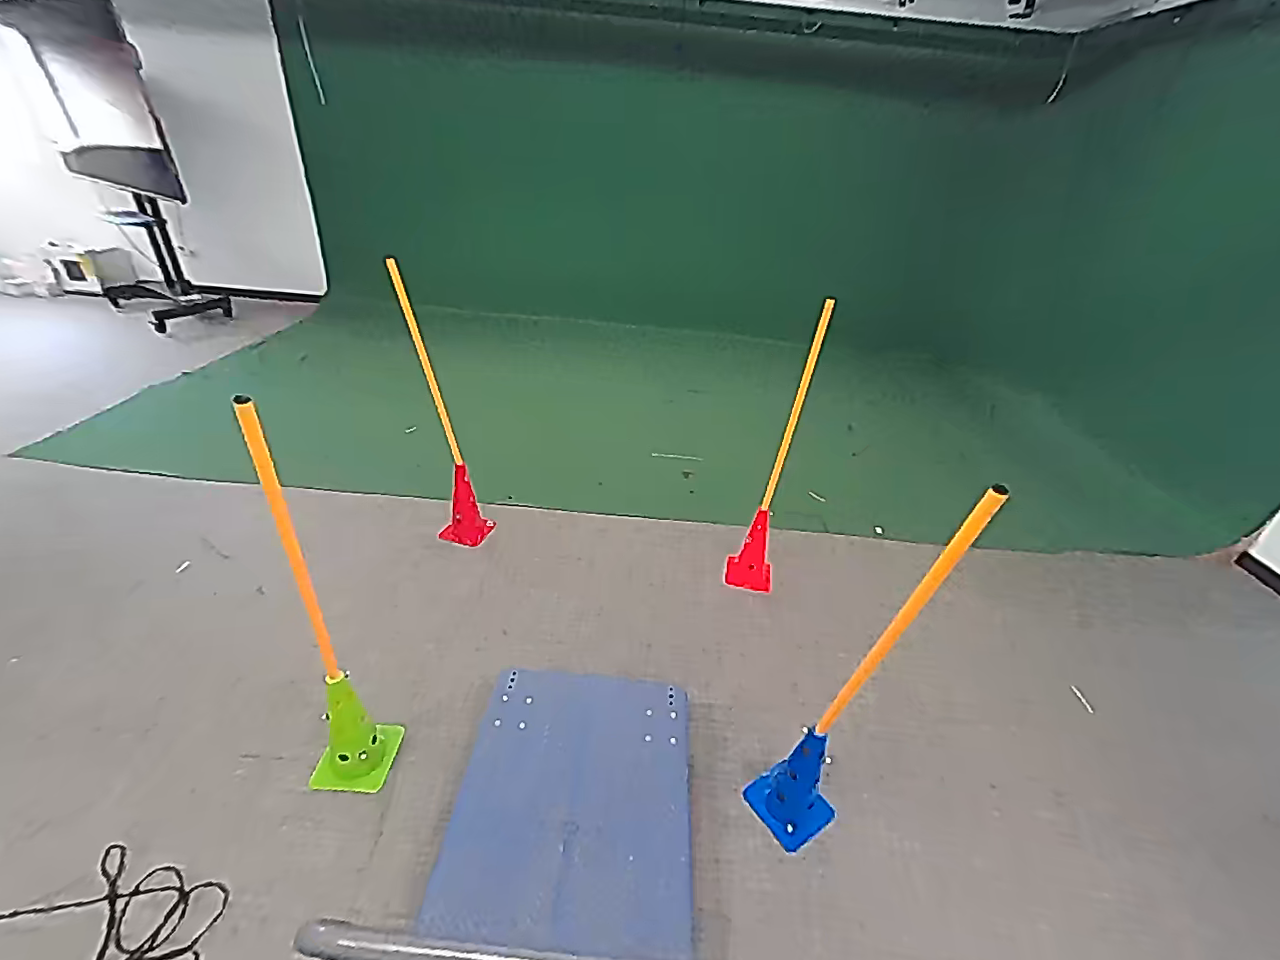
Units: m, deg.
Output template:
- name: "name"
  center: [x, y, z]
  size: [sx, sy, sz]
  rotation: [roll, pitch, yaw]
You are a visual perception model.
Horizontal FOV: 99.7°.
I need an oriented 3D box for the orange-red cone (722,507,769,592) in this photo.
- name: "orange-red cone"
  center: [0.480, 0.273, 2.298]
  size: [0.198, 0.360, 0.199]
  rotation: [10, 33, 9]
